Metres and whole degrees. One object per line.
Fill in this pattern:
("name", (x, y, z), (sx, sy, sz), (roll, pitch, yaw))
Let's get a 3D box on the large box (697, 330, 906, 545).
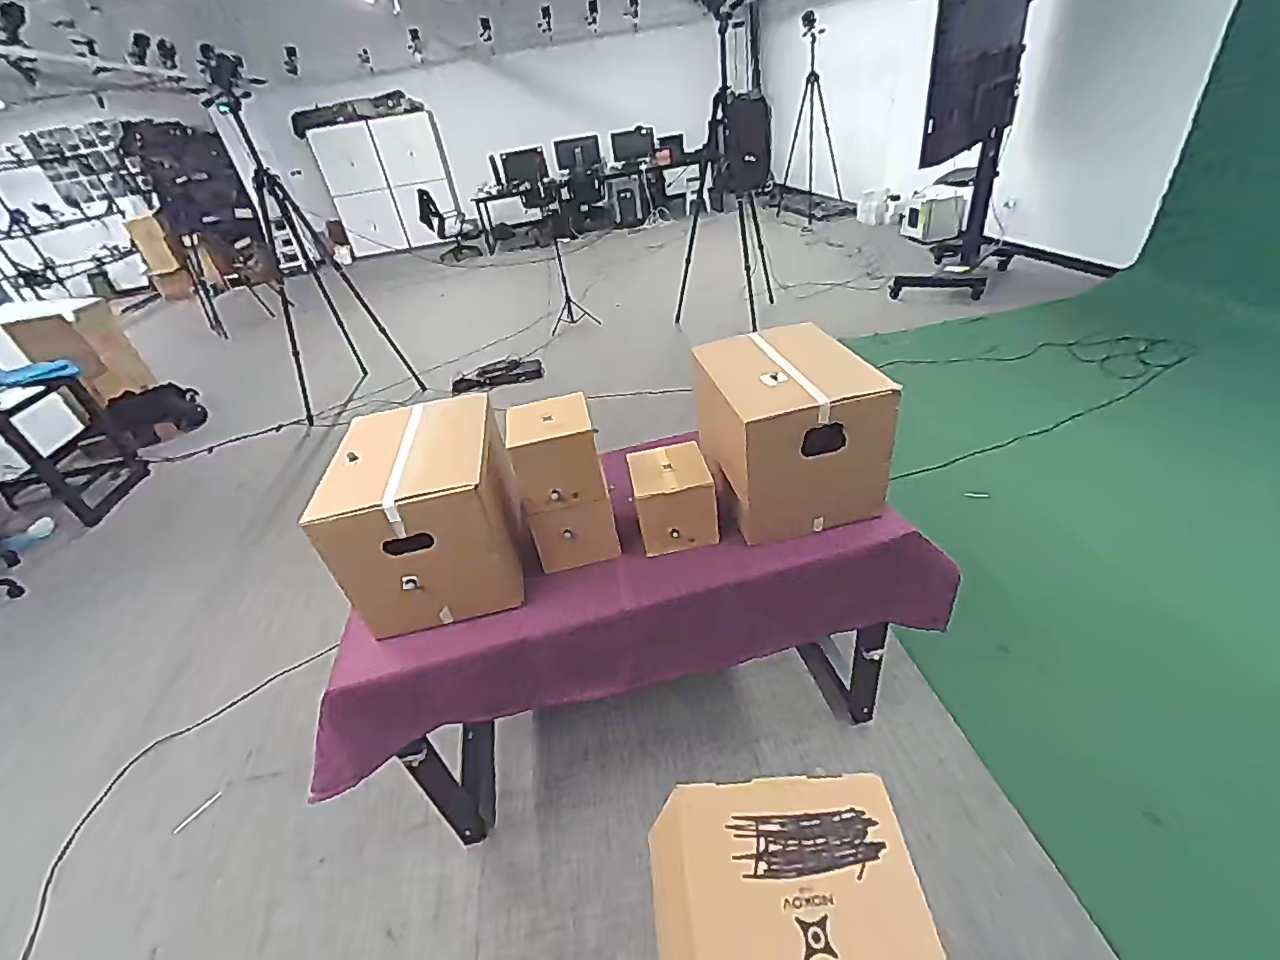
("large box", (0.338, -0.114, 1.256), (0.320, 0.320, 0.408), (-12, 35, -4))
